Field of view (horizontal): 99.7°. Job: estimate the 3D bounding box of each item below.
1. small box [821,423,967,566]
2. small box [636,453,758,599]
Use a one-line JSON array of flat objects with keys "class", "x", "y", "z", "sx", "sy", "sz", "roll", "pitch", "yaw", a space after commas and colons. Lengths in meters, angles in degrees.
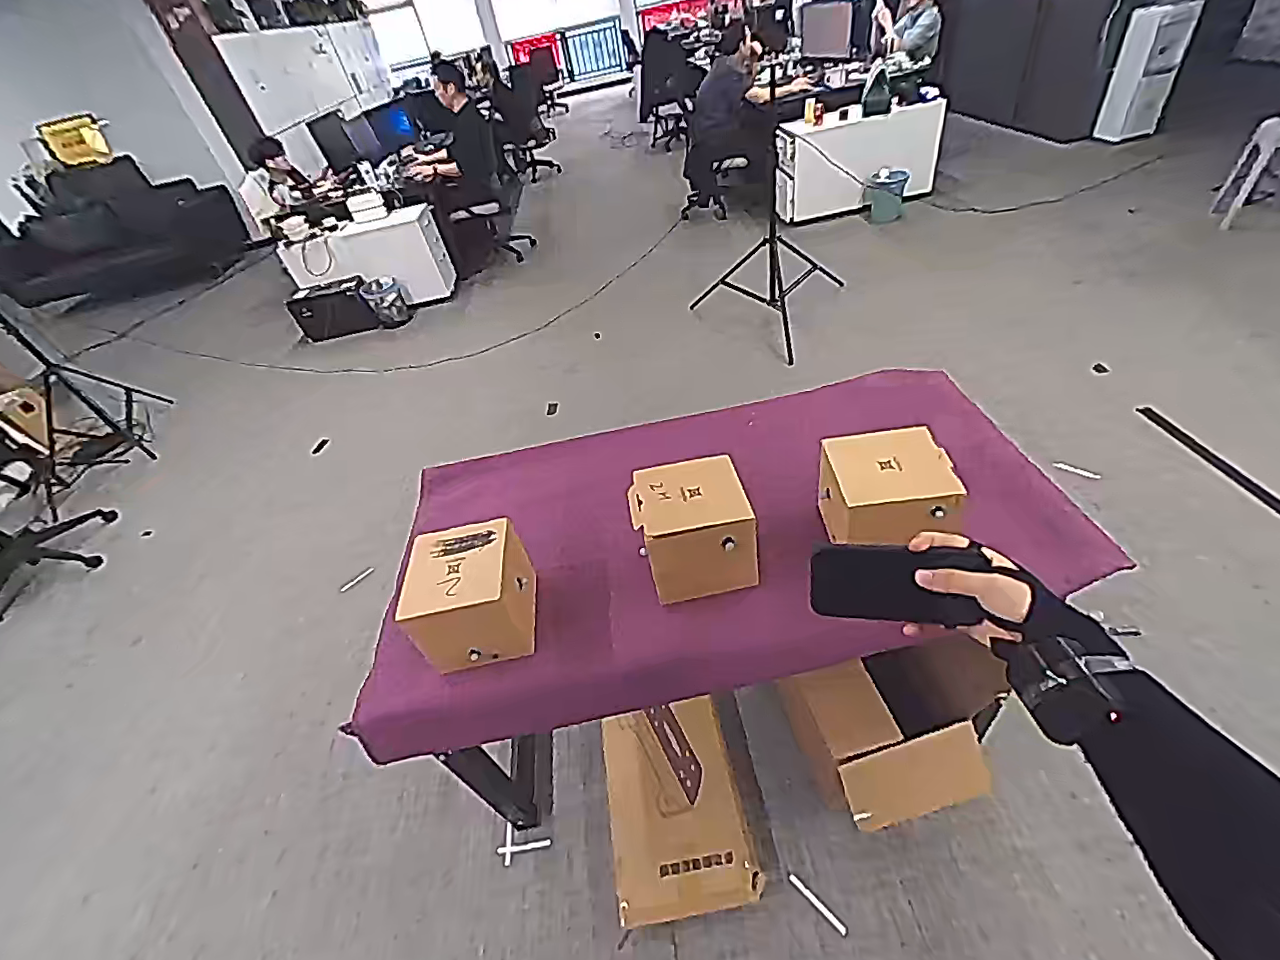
[{"class": "small box", "x": 0.412, "y": 0.029, "z": 0.914, "sx": 0.179, "sy": 0.176, "sz": 0.168, "roll": -8, "pitch": 42, "yaw": 6}, {"class": "small box", "x": 0.099, "y": 0.081, "z": 0.937, "sx": 0.179, "sy": 0.176, "sz": 0.168, "roll": -13, "pitch": 40, "yaw": 1}]
